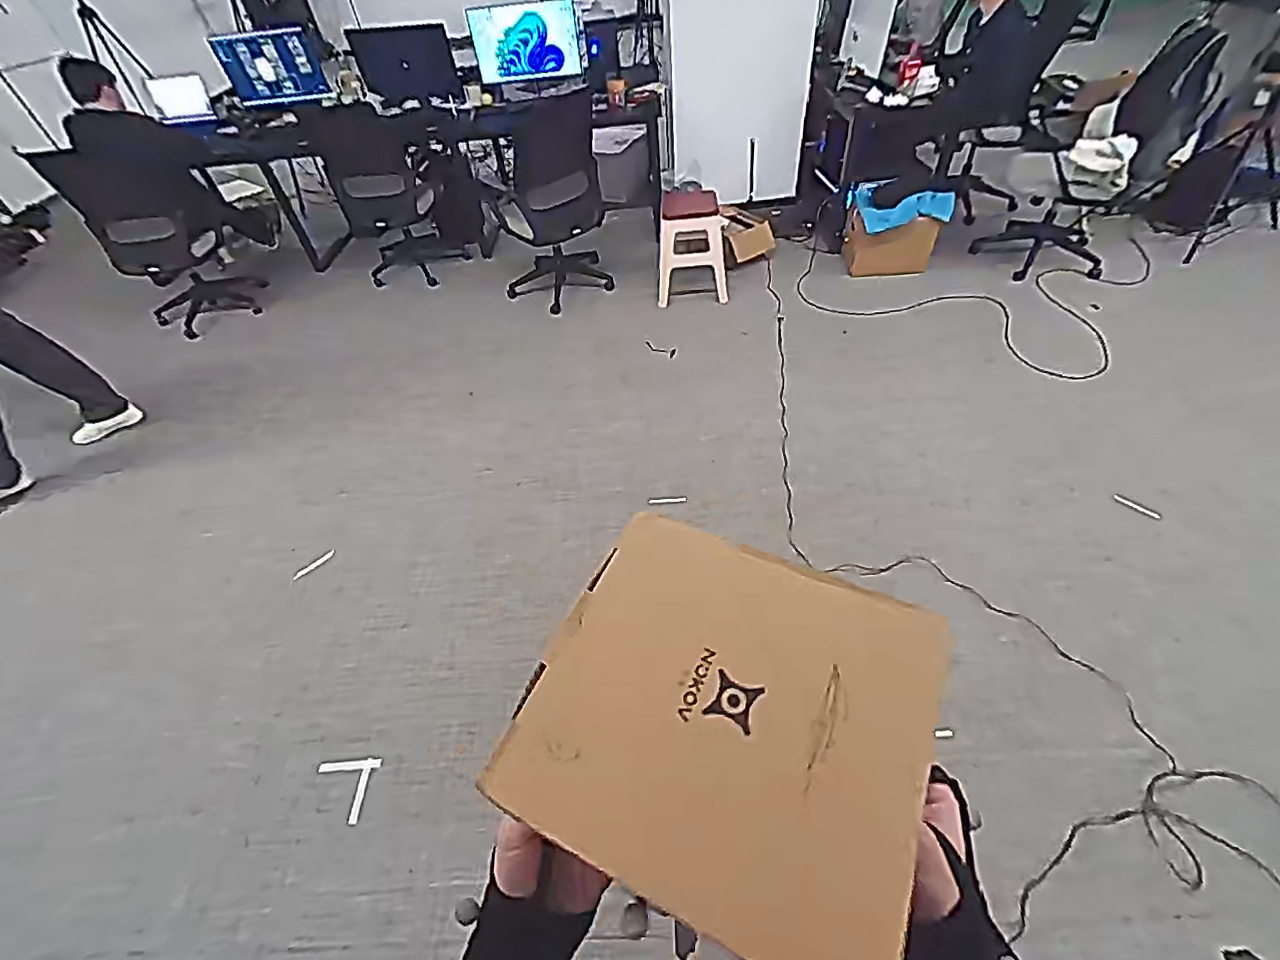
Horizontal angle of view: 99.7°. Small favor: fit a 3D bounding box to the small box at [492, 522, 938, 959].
[{"bbox_3d":[0.048,0.158,0.323,0.179,0.176,0.168,18,54,18],"label":"small box"}]
